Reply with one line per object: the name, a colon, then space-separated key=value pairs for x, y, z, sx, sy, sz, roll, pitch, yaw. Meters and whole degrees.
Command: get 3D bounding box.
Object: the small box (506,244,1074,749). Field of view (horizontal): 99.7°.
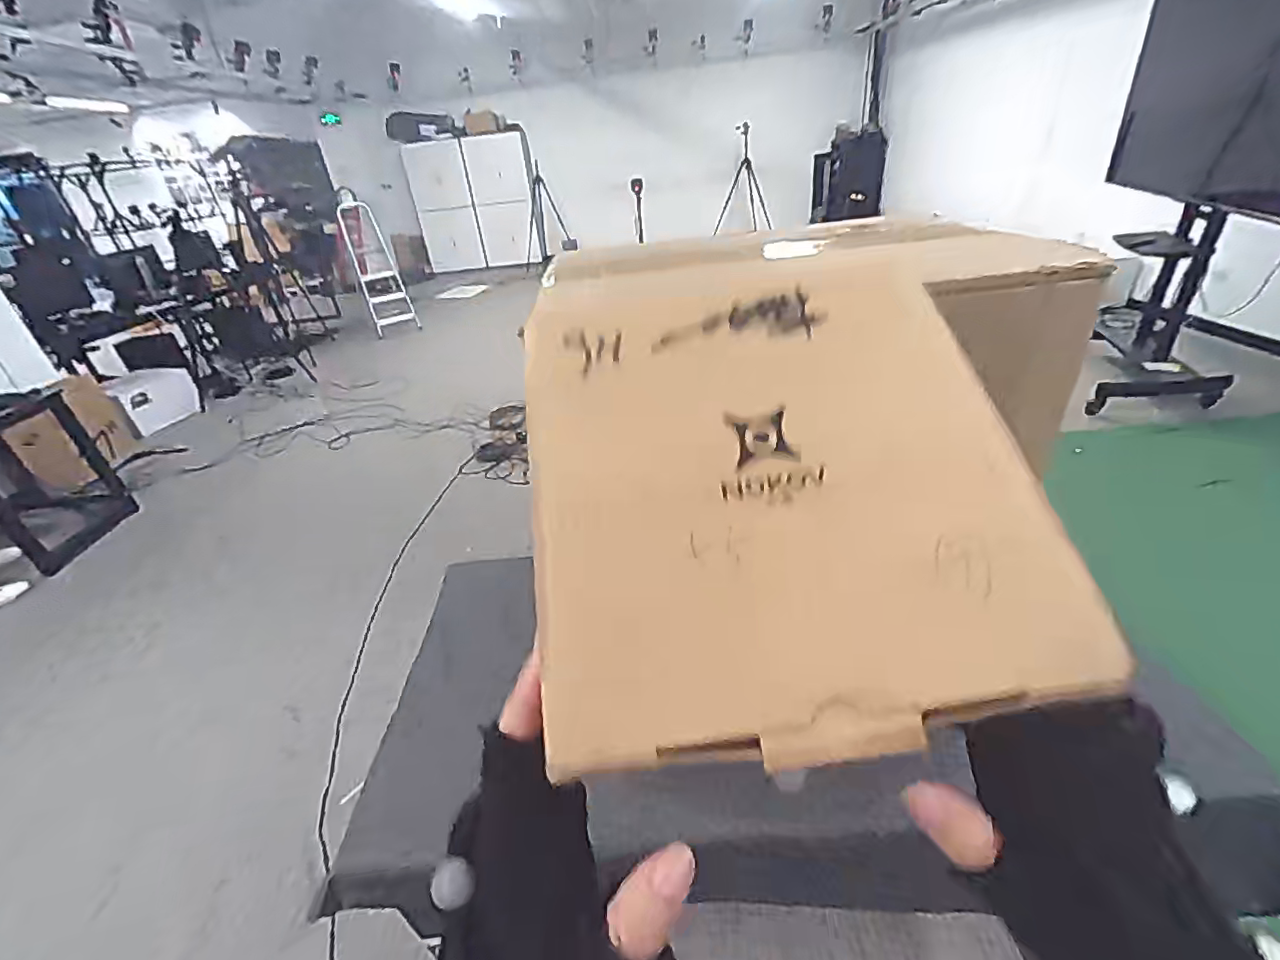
small box: x=0.040 y=0.024 z=0.261 sx=0.168 sy=0.176 sz=0.179 roll=-7 pitch=63 yaw=1
